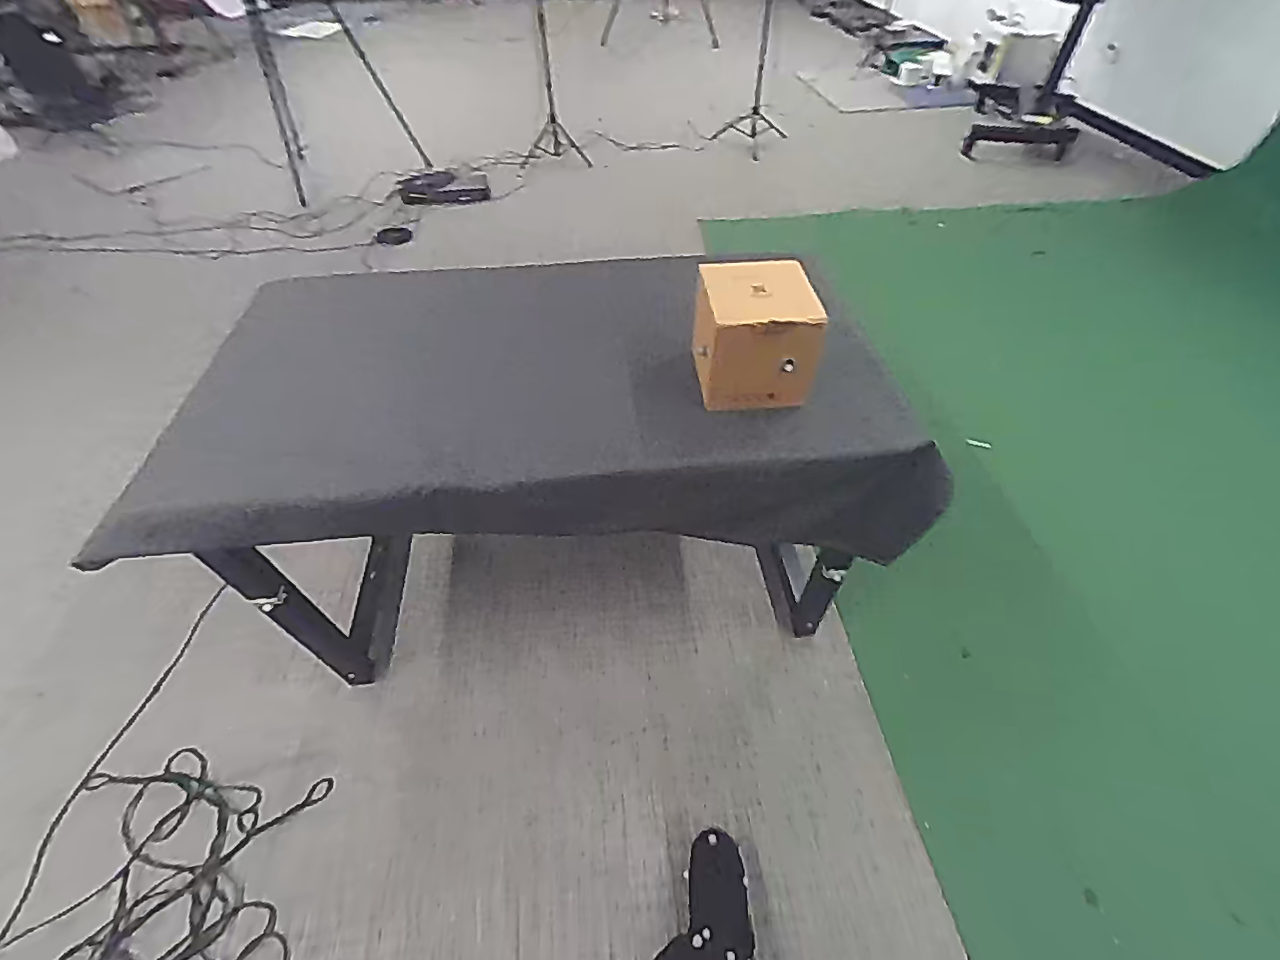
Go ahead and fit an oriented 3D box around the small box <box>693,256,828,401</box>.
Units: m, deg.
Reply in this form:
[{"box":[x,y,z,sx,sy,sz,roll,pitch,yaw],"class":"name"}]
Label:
[{"box":[0.182,-0.240,0.875,0.168,0.176,0.179,-3,48,-3],"class":"small box"}]
